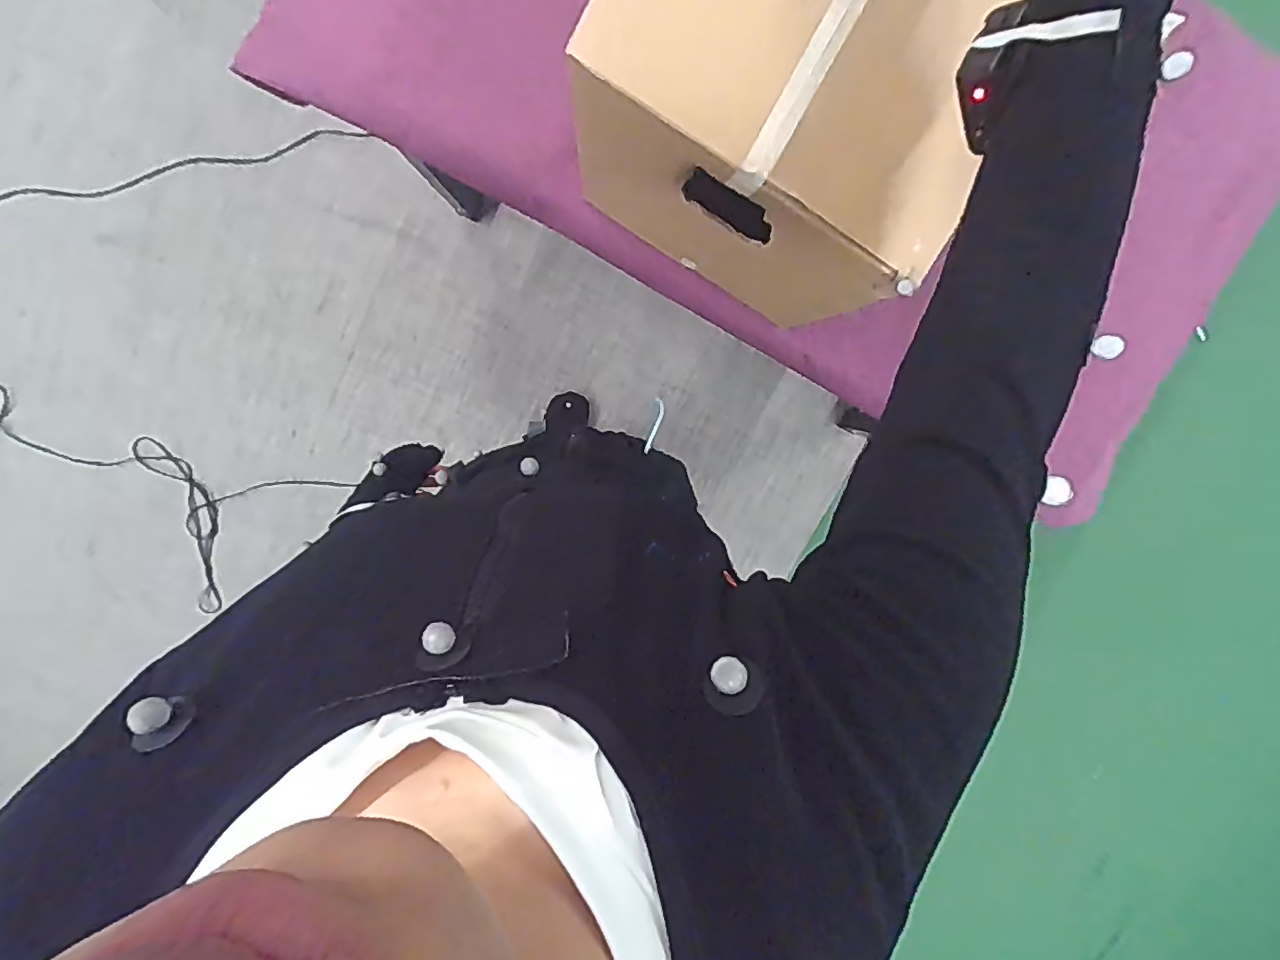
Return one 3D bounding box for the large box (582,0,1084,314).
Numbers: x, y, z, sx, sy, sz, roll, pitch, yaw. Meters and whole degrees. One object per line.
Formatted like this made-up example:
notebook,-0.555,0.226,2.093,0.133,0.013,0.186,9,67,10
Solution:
large box,0.174,-0.432,0.536,0.320,0.320,0.408,30,98,-8
